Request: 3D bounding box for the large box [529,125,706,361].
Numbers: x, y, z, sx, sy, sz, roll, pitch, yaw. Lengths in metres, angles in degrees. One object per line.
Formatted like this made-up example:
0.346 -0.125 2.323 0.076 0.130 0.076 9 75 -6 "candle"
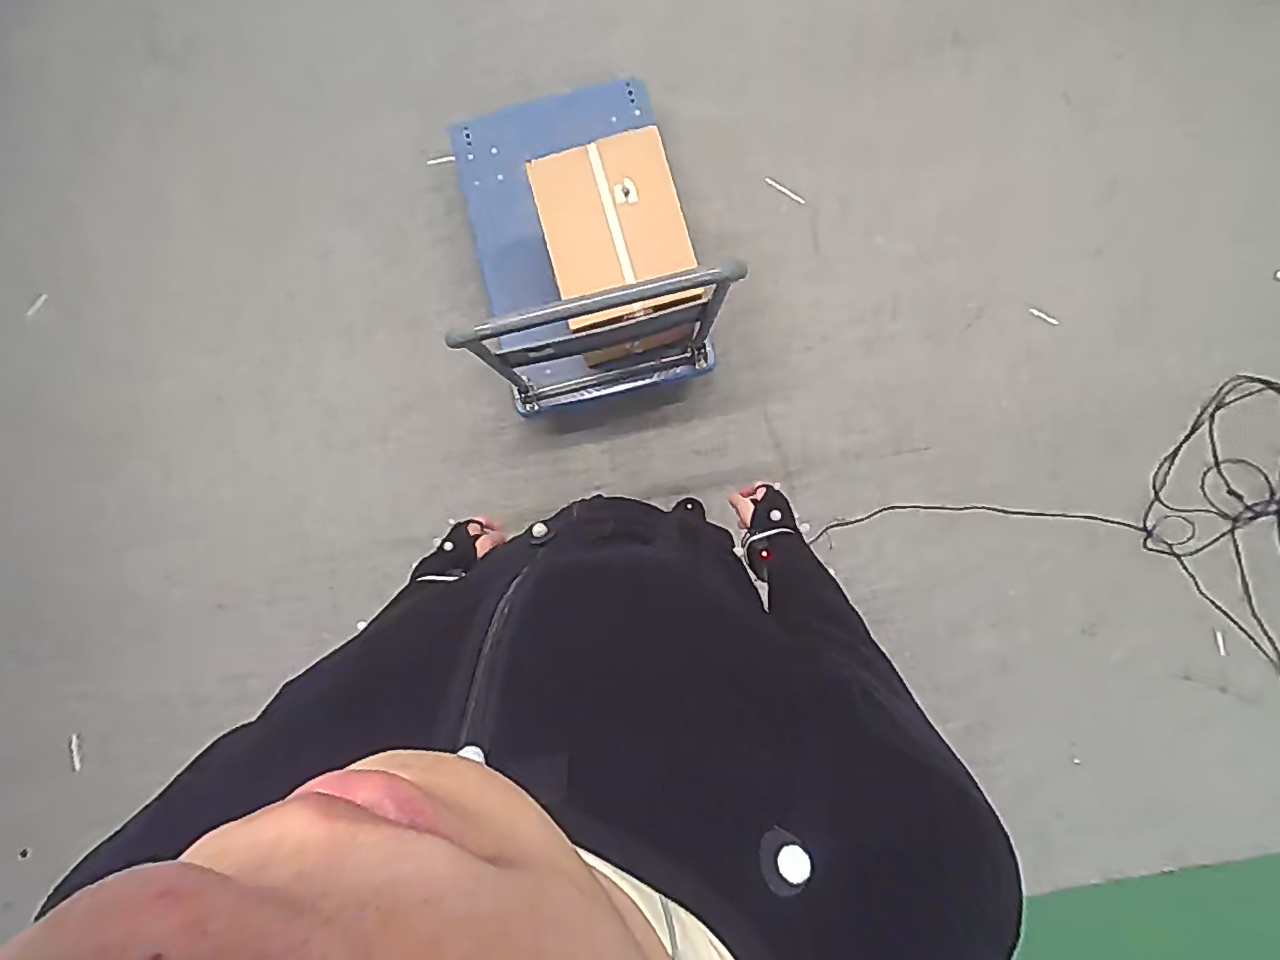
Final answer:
-0.047 -0.563 1.359 0.320 0.320 0.408 -15 86 0 "large box"
